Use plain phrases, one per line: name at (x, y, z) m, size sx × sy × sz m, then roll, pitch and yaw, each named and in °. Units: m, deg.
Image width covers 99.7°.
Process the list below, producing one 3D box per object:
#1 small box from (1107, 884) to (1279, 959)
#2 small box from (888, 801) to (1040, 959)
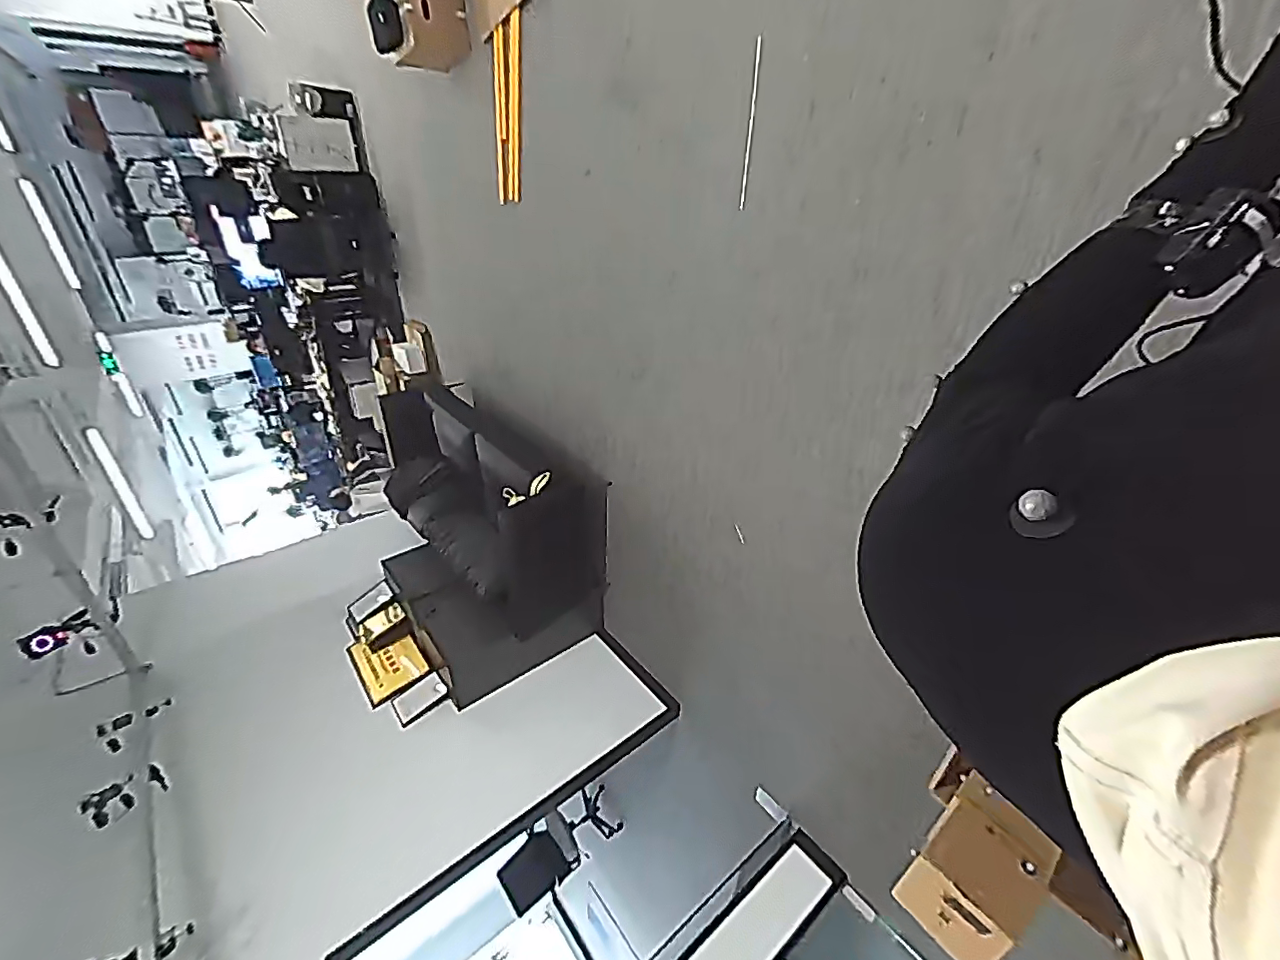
small box at (0.928, 0.836, 0.904) m, size 0.168 × 0.176 × 0.179 m, roll 36°, pitch 134°, yaw 38°
small box at (0.606, 0.750, 1.011) m, size 0.168 × 0.176 × 0.179 m, roll 38°, pitch 136°, yaw 39°
